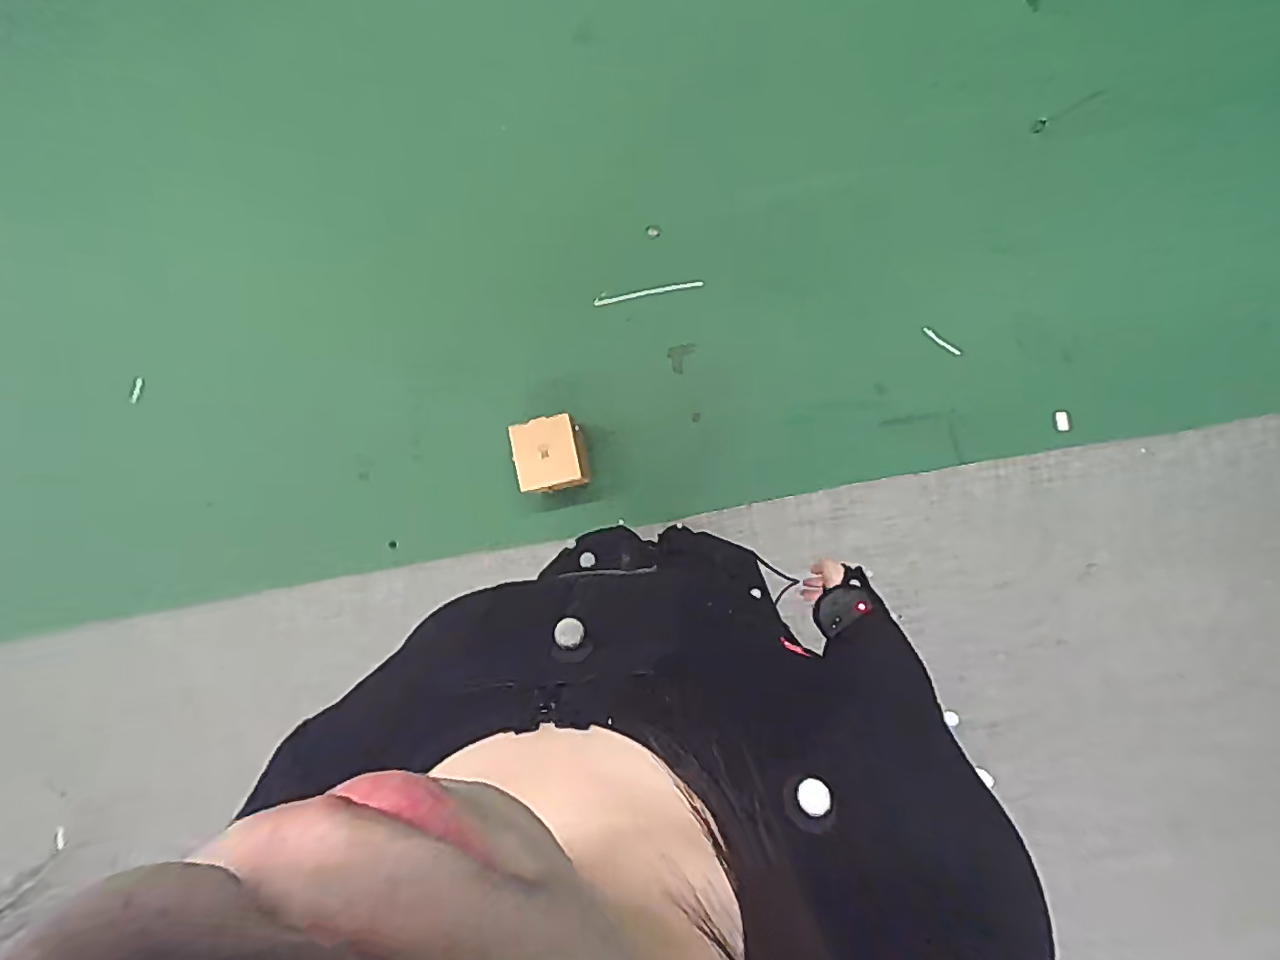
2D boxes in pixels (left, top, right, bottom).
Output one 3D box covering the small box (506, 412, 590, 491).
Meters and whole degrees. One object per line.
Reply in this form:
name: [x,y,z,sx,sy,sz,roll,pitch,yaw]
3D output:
small box: [-0.242,-0.070,1.467,0.168,0.176,0.179,-13,85,4]
